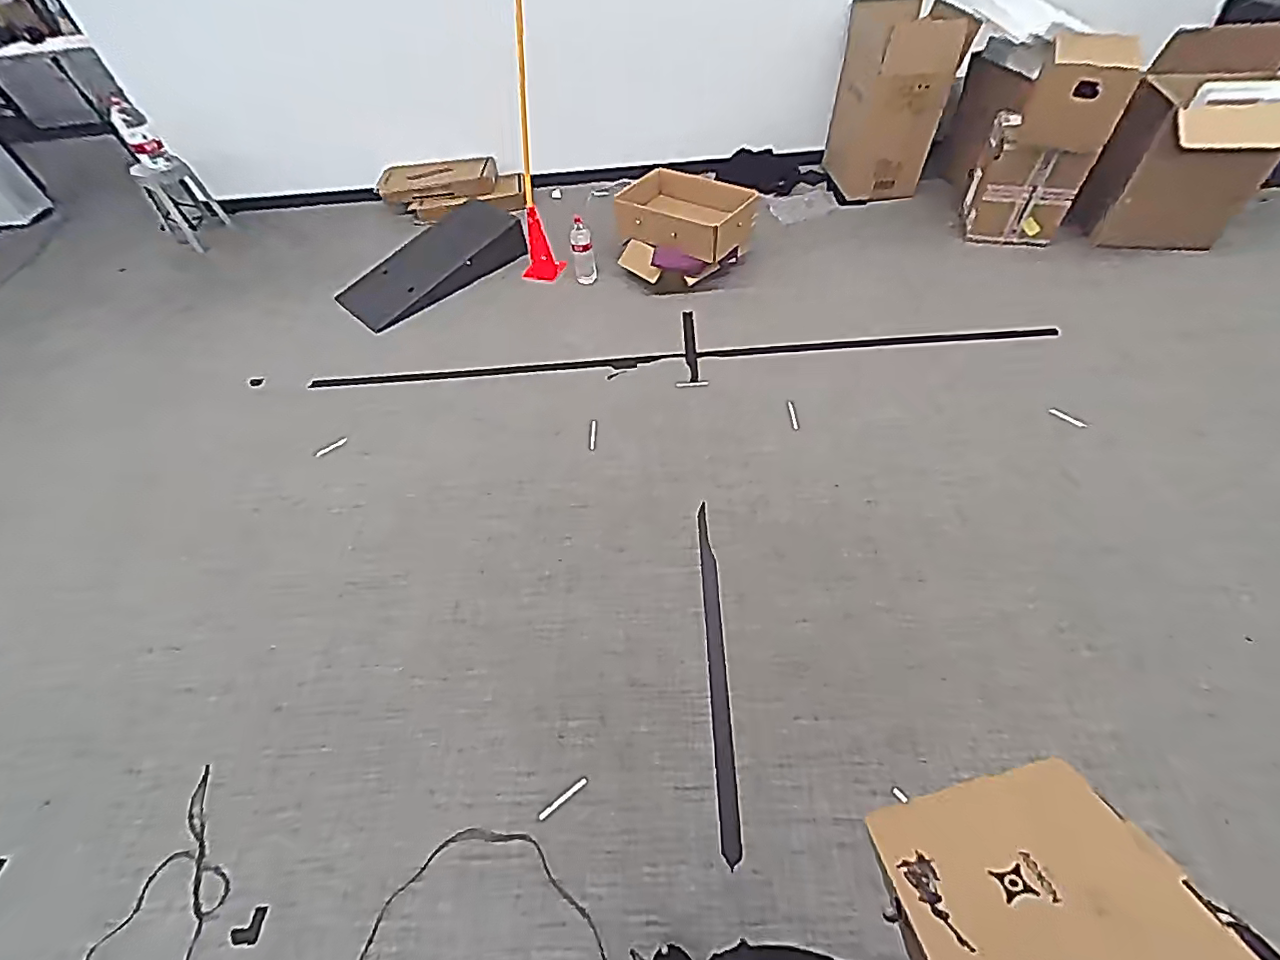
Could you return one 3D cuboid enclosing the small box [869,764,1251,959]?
[{"bbox_3d":[0.307,0.365,0.412,0.179,0.176,0.168,-20,15,6],"label":"small box"}]
